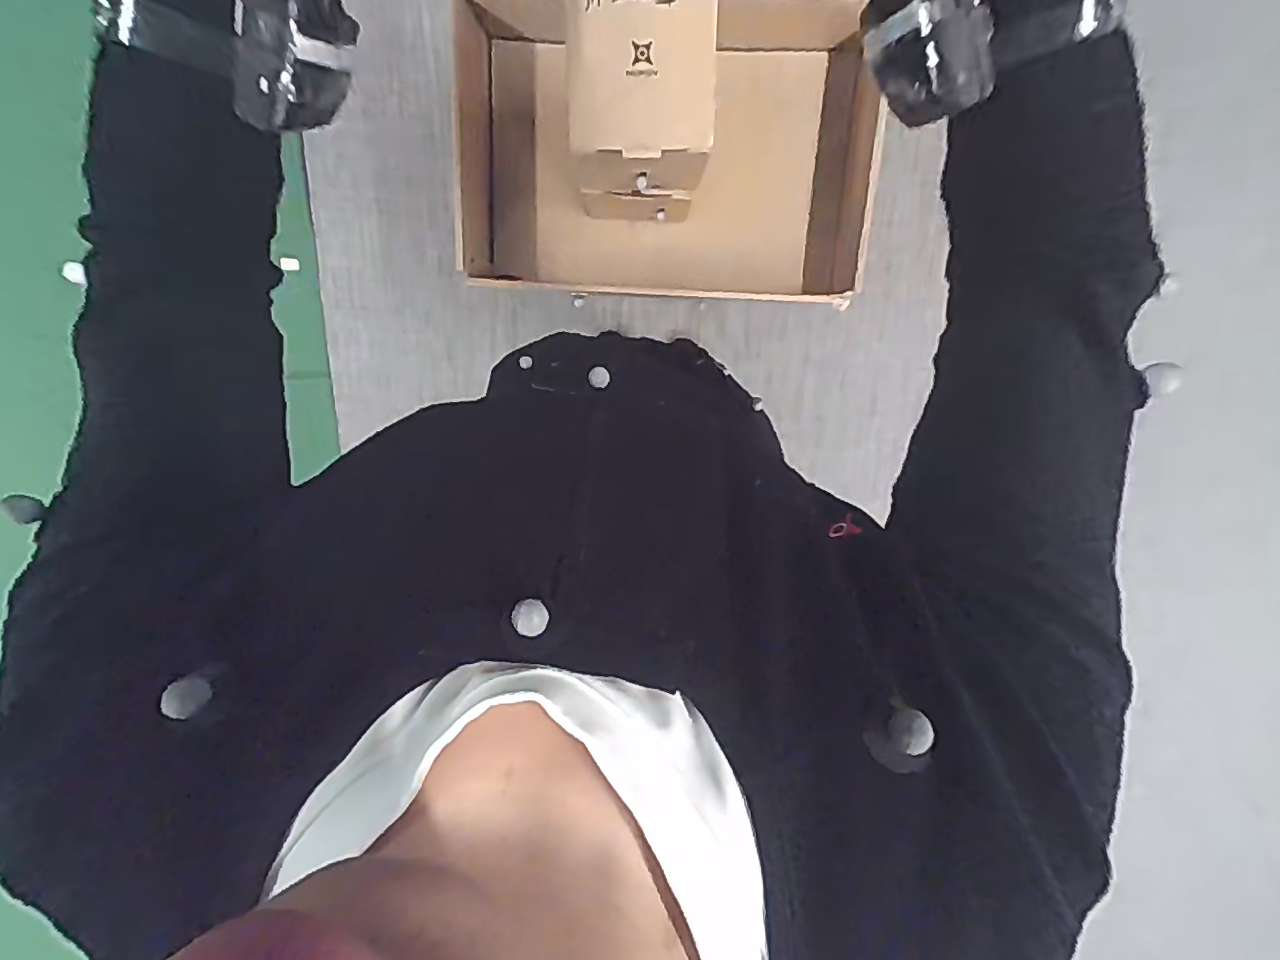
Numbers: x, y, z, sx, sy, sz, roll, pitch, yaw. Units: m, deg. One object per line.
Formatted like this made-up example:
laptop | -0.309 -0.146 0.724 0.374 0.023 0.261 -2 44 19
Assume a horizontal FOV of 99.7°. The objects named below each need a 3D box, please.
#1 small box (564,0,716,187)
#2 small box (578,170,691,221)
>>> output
small box | 0.000 -0.476 0.669 0.168 0.176 0.179 0 105 0
small box | -0.002 -0.510 0.829 0.168 0.176 0.179 2 103 -1
